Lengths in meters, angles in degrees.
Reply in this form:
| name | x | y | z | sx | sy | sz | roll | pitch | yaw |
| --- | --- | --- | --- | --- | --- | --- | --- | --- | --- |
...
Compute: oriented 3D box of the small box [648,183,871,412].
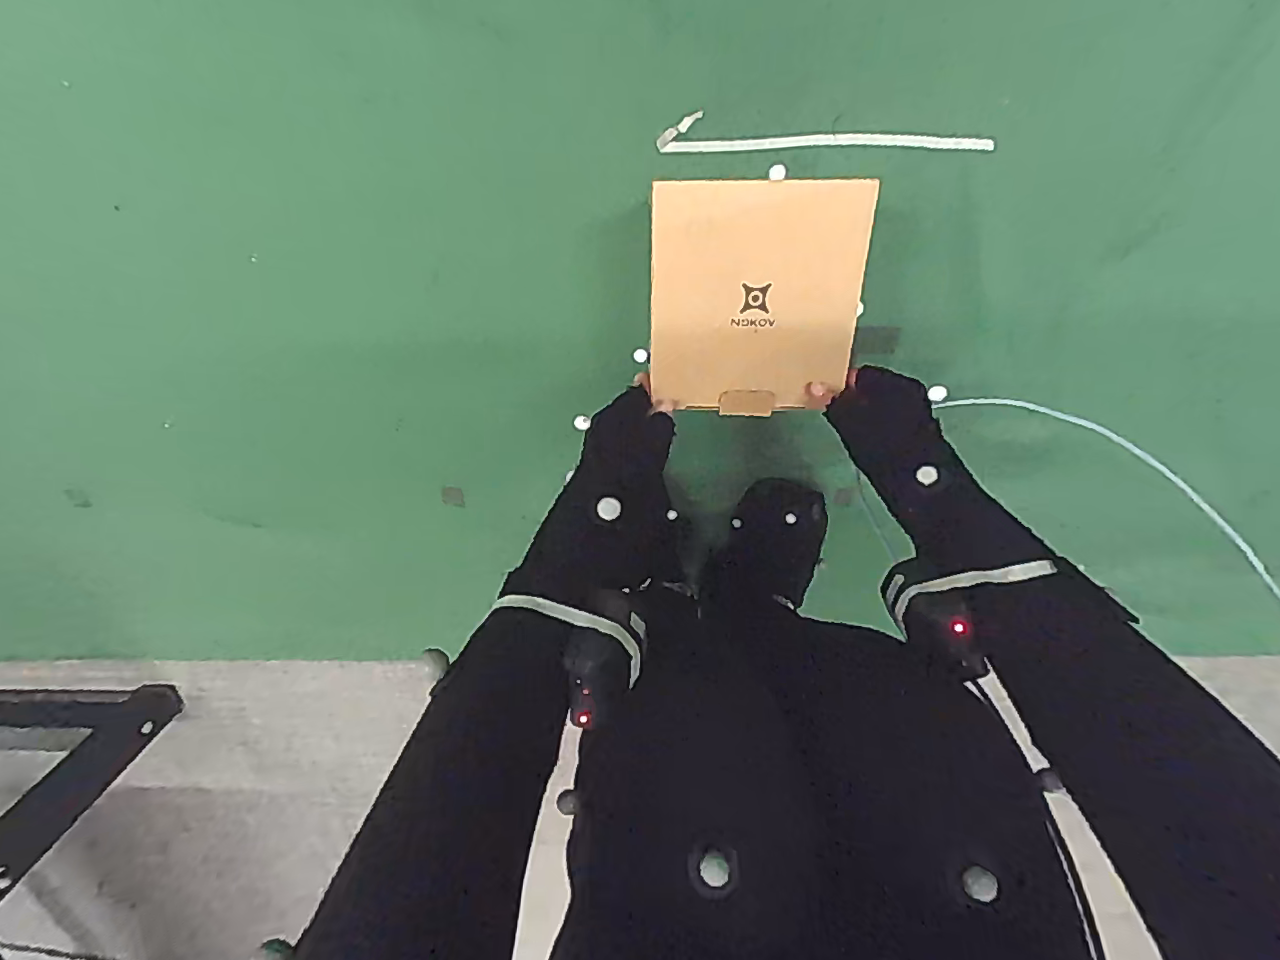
| name | x | y | z | sx | sy | sz | roll | pitch | yaw |
| --- | --- | --- | --- | --- | --- | --- | --- | --- | --- |
| small box | 0.091 | -0.172 | 0.506 | 0.168 | 0.176 | 0.179 | 0 | 116 | 1 |
